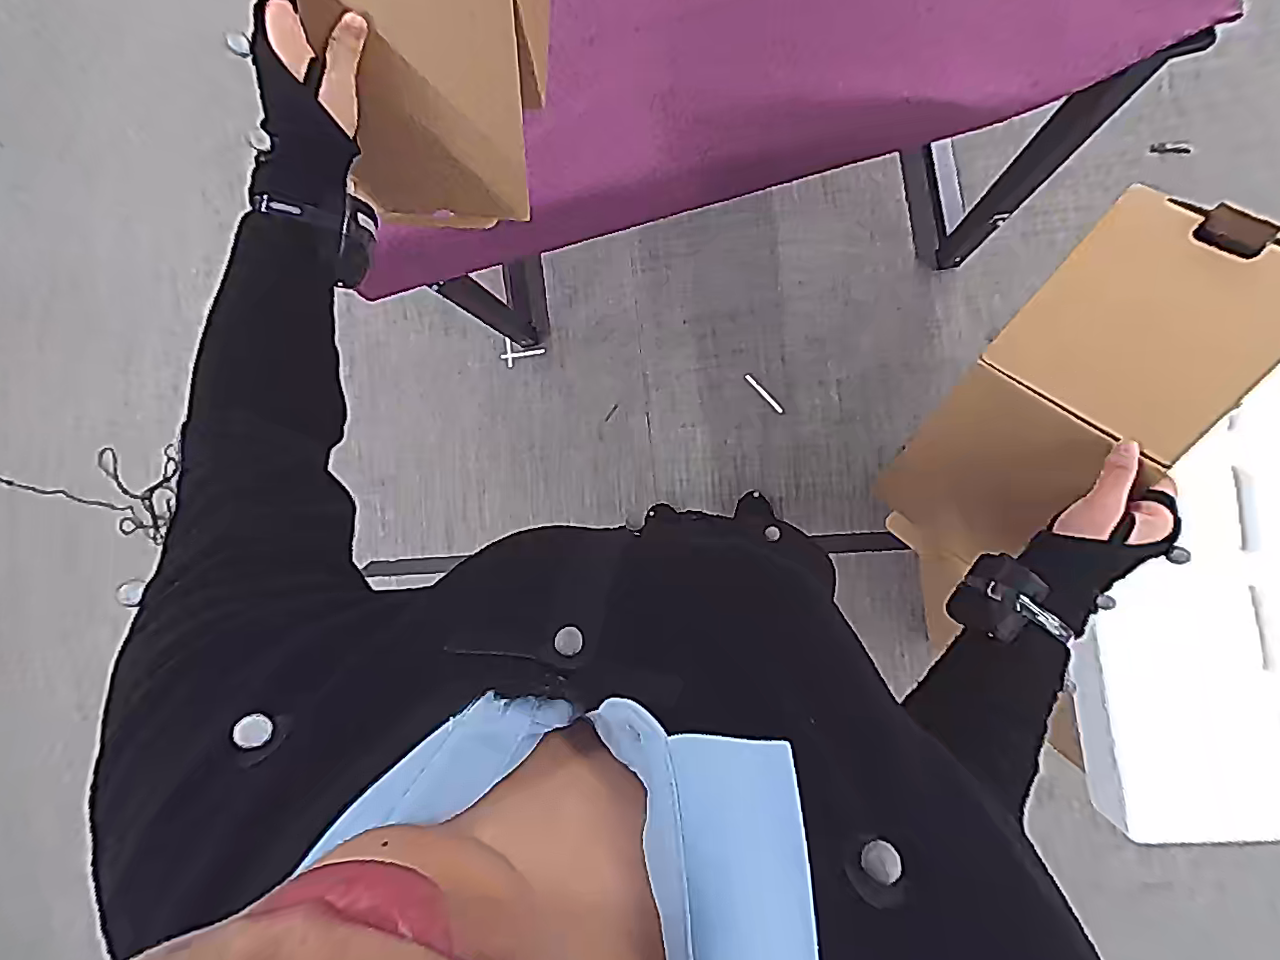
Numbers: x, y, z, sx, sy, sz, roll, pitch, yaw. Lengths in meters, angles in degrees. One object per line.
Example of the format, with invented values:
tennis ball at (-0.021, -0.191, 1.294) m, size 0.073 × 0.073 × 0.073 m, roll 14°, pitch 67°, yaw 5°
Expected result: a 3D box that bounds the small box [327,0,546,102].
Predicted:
small box at (-0.175, -0.473, 0.475) m, size 0.168 × 0.176 × 0.179 m, roll 3°, pitch 93°, yaw -2°
